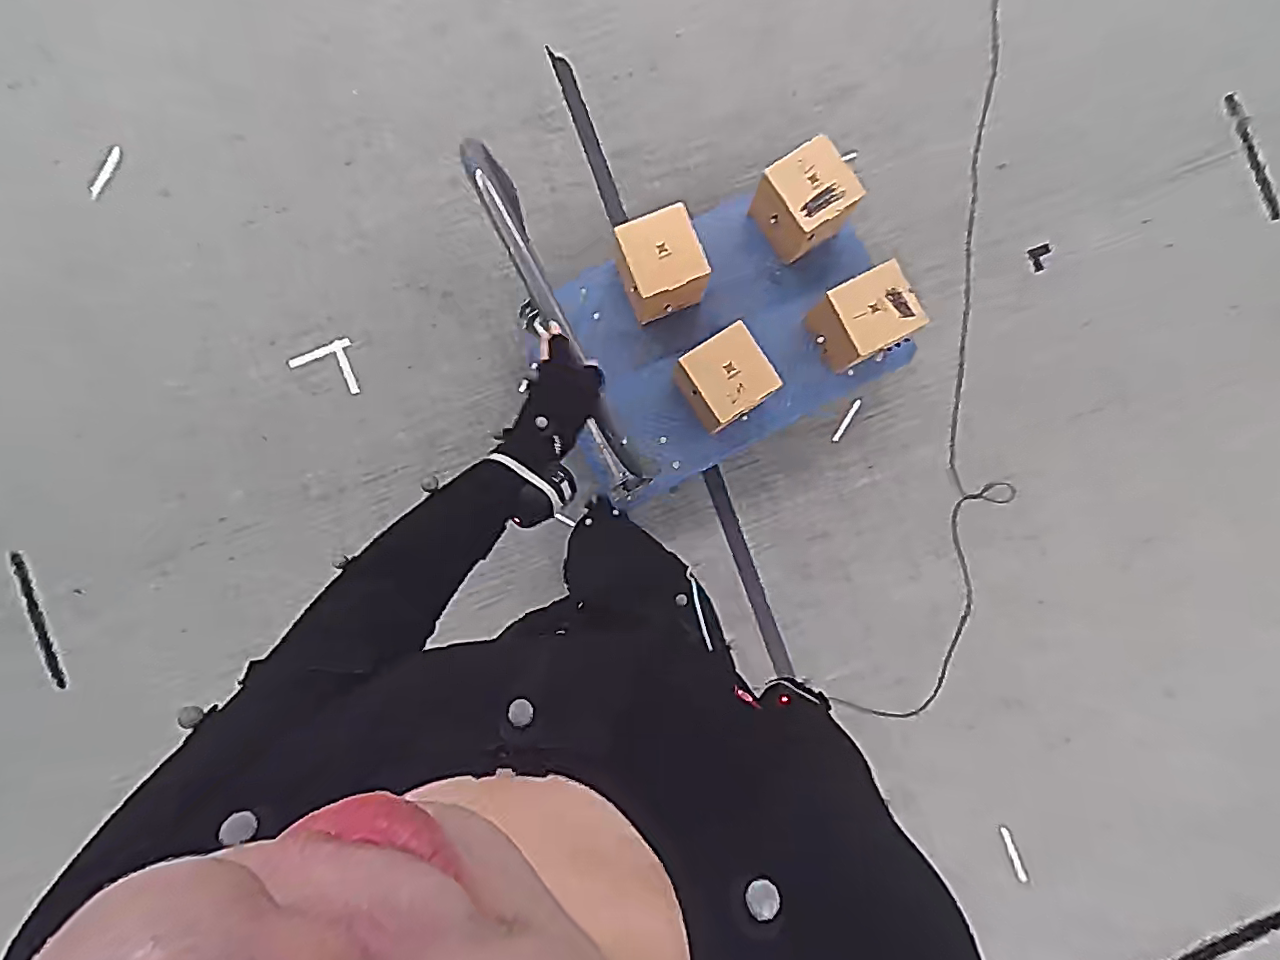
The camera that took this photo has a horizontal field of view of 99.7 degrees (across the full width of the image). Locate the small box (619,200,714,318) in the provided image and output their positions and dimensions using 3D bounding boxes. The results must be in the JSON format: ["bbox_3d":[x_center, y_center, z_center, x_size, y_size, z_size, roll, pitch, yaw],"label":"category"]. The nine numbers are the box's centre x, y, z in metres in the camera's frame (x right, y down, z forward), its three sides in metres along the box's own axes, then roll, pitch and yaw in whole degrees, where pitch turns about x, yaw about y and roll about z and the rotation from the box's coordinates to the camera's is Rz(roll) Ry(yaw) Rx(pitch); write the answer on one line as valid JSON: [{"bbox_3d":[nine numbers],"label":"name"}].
[{"bbox_3d":[0.054,-0.509,1.267,0.168,0.176,0.179,-22,89,-2],"label":"small box"}]

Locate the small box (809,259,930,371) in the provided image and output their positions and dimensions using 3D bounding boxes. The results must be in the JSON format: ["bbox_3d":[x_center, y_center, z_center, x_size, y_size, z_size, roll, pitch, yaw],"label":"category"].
[{"bbox_3d":[0.529,-0.379,1.270,0.179,0.176,0.168,-26,88,-1],"label":"small box"}]

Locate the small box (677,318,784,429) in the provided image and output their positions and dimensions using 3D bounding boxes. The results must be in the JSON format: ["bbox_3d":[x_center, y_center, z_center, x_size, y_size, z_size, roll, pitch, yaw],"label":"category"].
[{"bbox_3d":[0.199,-0.238,1.256,0.168,0.176,0.179,-32,88,-2],"label":"small box"}]
